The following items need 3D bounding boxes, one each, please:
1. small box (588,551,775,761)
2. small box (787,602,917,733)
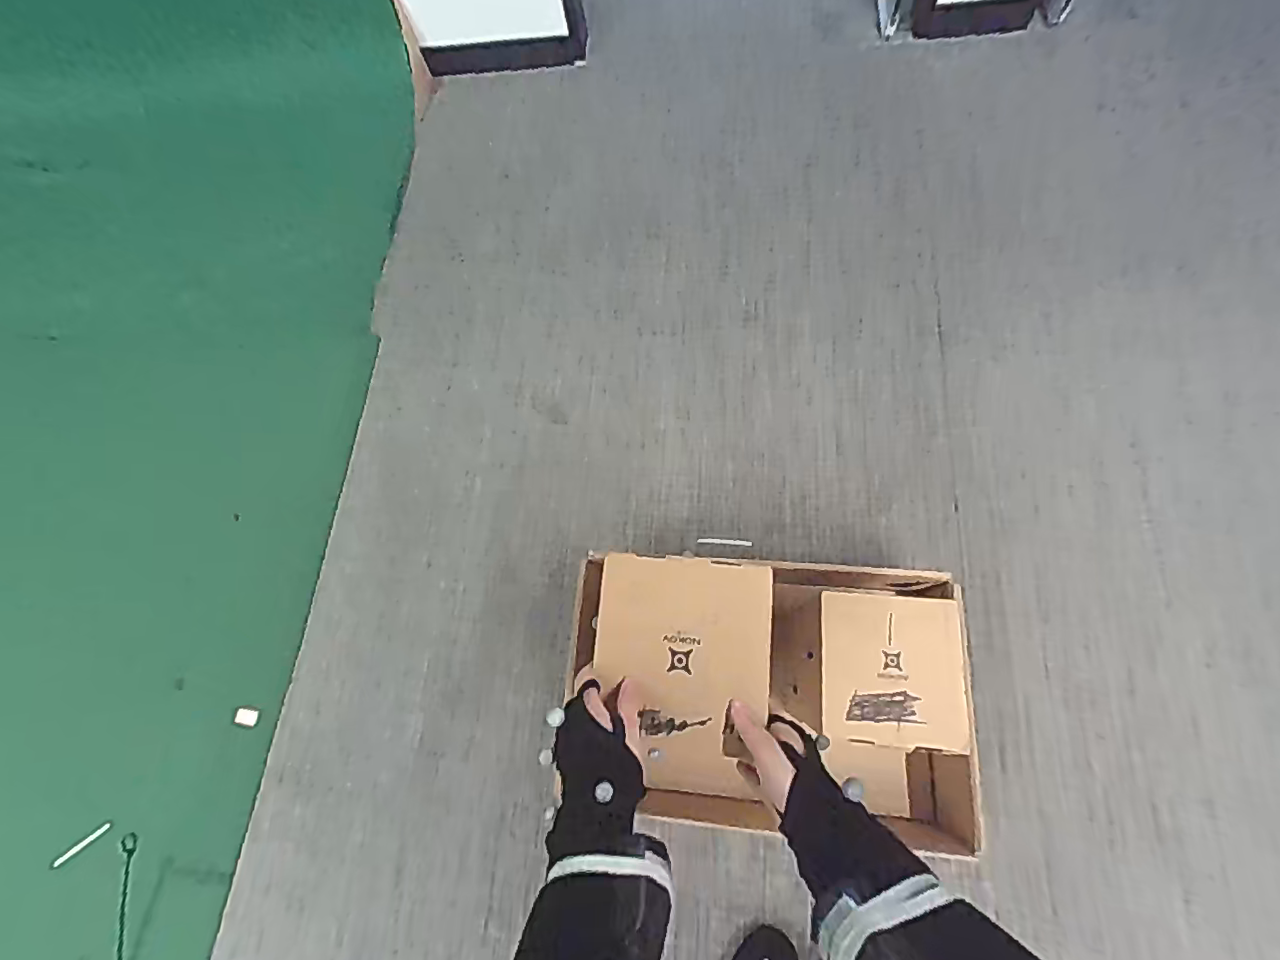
[{"bbox_3d":[0.045,0.179,0.583,0.168,0.176,0.179,4,77,5],"label":"small box"},{"bbox_3d":[0.336,0.300,0.886,0.168,0.176,0.179,2,73,8],"label":"small box"}]
